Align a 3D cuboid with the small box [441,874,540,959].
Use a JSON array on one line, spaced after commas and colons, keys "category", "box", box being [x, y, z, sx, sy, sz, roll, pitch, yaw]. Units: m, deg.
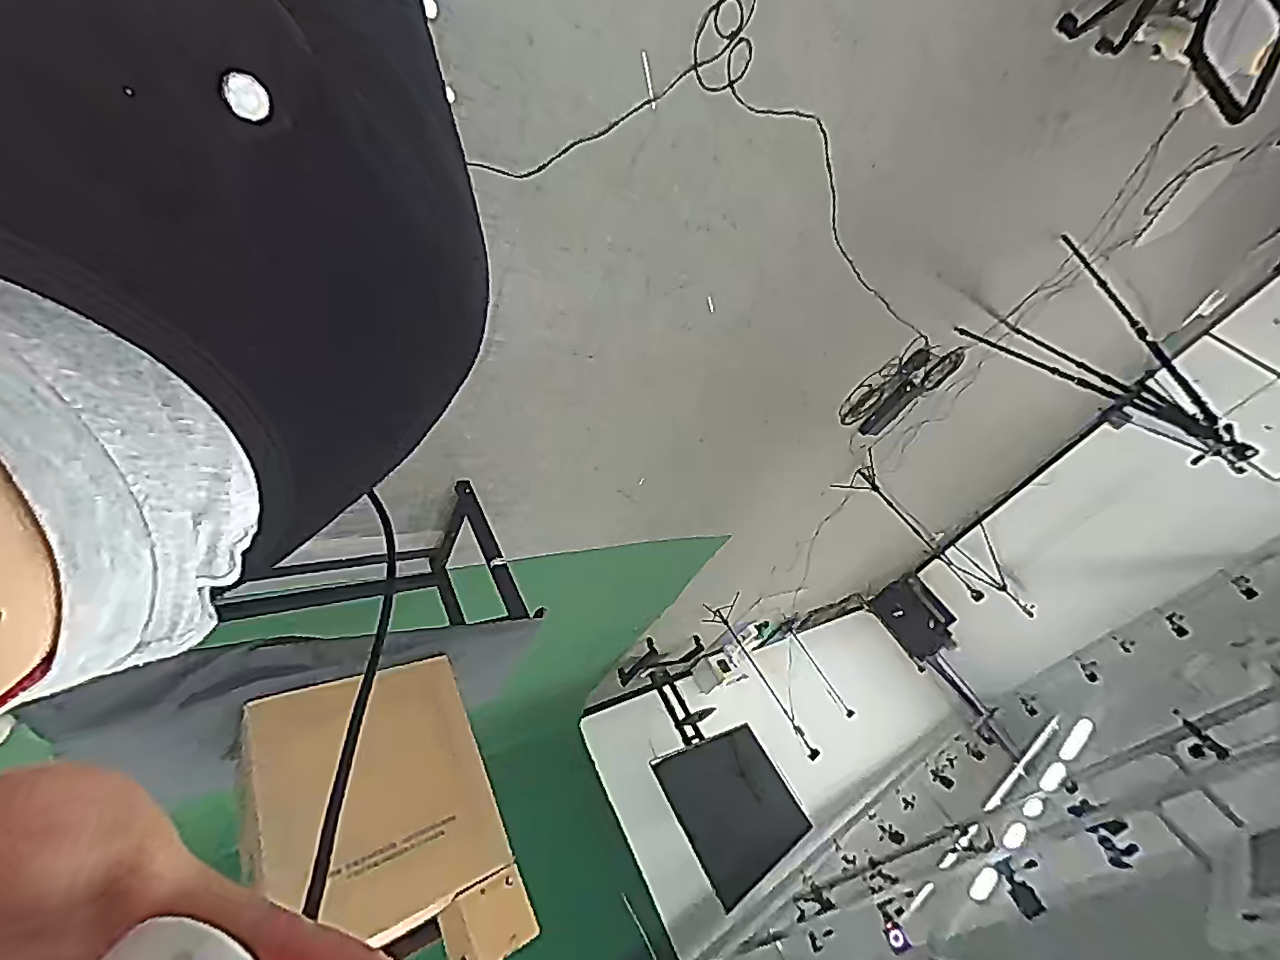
[{"category": "small box", "box": [-0.387, 1.148, 1.376, 0.168, 0.176, 0.179, 0, 137, -44]}]
